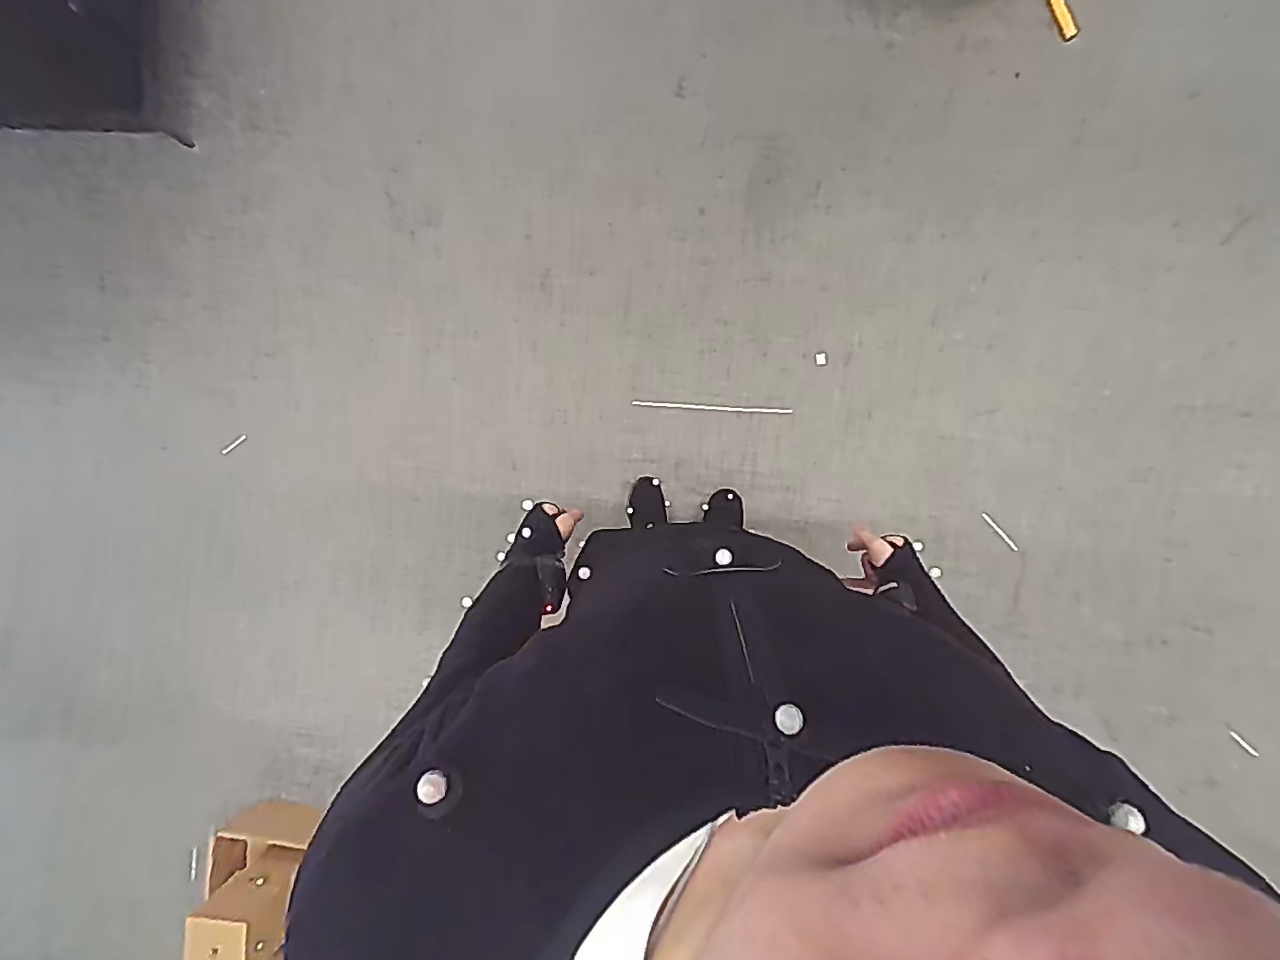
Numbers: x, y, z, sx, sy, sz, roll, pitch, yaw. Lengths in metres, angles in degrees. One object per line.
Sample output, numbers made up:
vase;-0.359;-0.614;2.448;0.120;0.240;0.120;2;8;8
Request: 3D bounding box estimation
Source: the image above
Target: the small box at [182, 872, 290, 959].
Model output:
small box;-1.081;1.212;1.457;0.168;0.176;0.179;4;91;4
